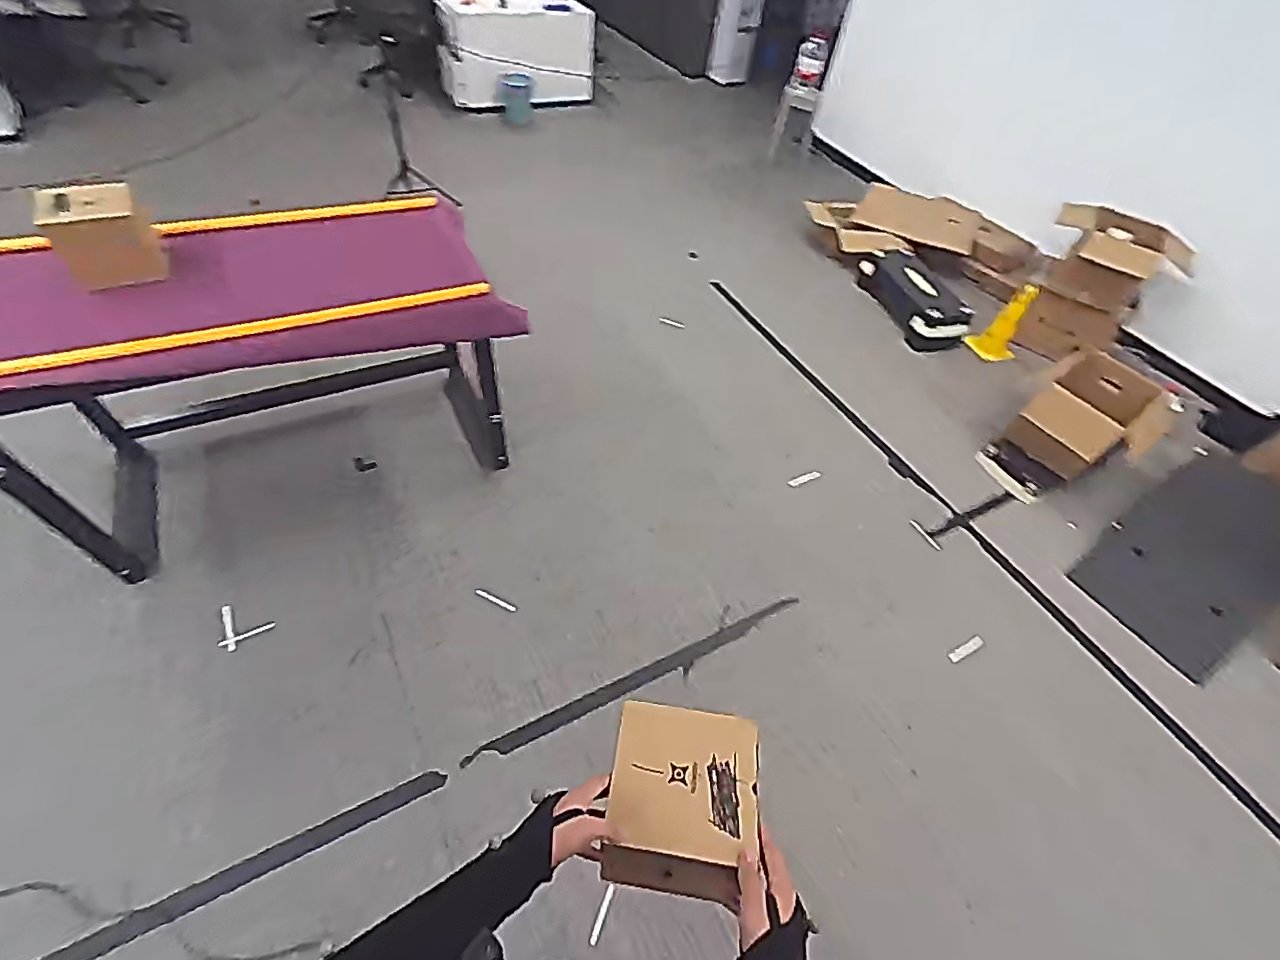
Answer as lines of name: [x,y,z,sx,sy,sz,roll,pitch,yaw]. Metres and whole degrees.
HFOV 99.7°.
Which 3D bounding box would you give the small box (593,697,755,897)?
small box: [0.042,0.403,0.684,0.179,0.176,0.168,6,42,4]
